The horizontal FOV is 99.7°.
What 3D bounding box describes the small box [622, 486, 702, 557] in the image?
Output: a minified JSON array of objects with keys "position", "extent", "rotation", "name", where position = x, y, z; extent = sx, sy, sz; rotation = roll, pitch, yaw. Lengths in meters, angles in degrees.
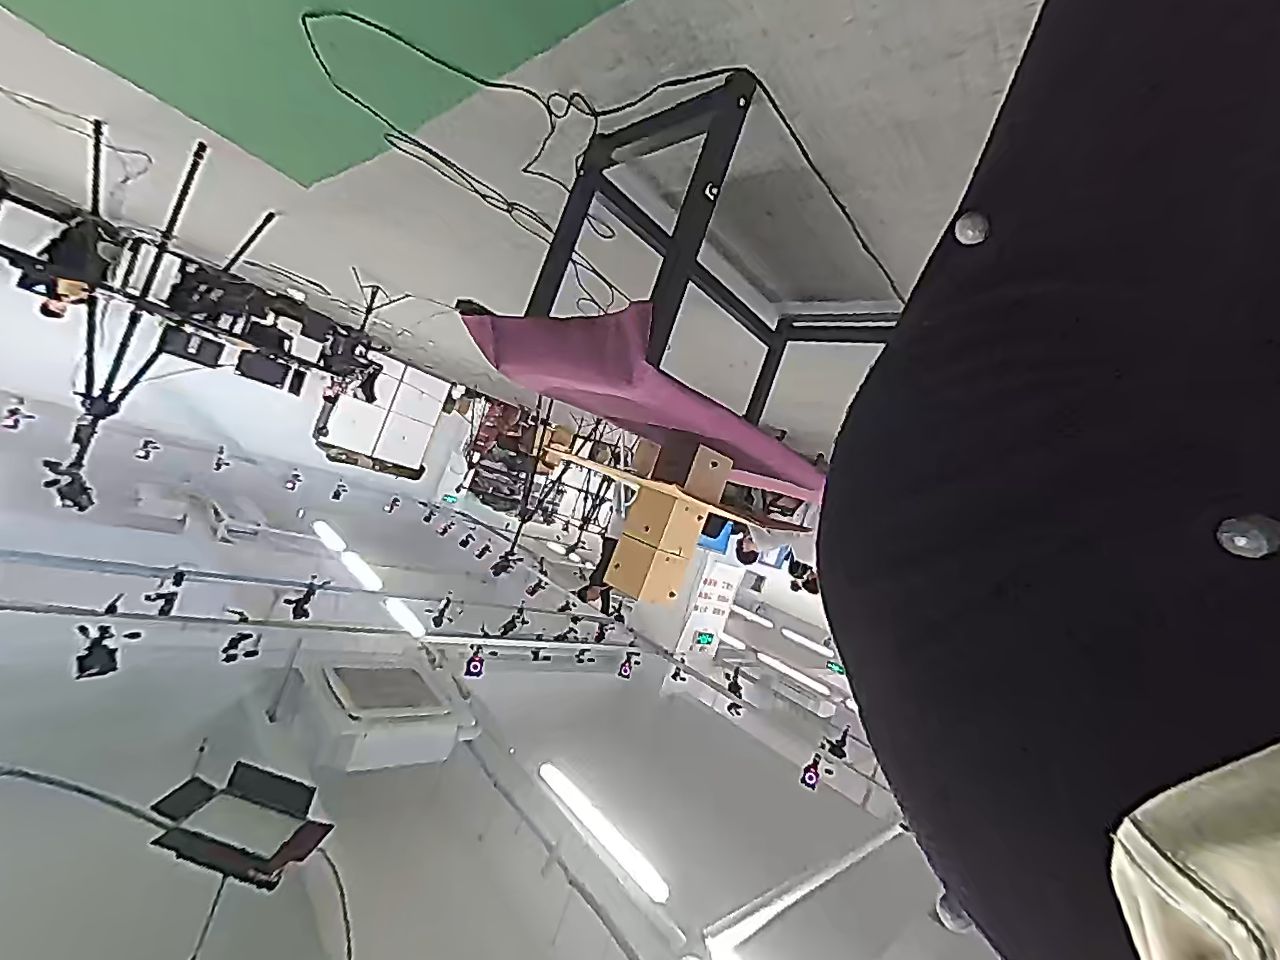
[{"position":[0.077,0.128,1.725],"extent":[0.168,0.176,0.179],"rotation":[24,176,-42],"name":"small box"}]
